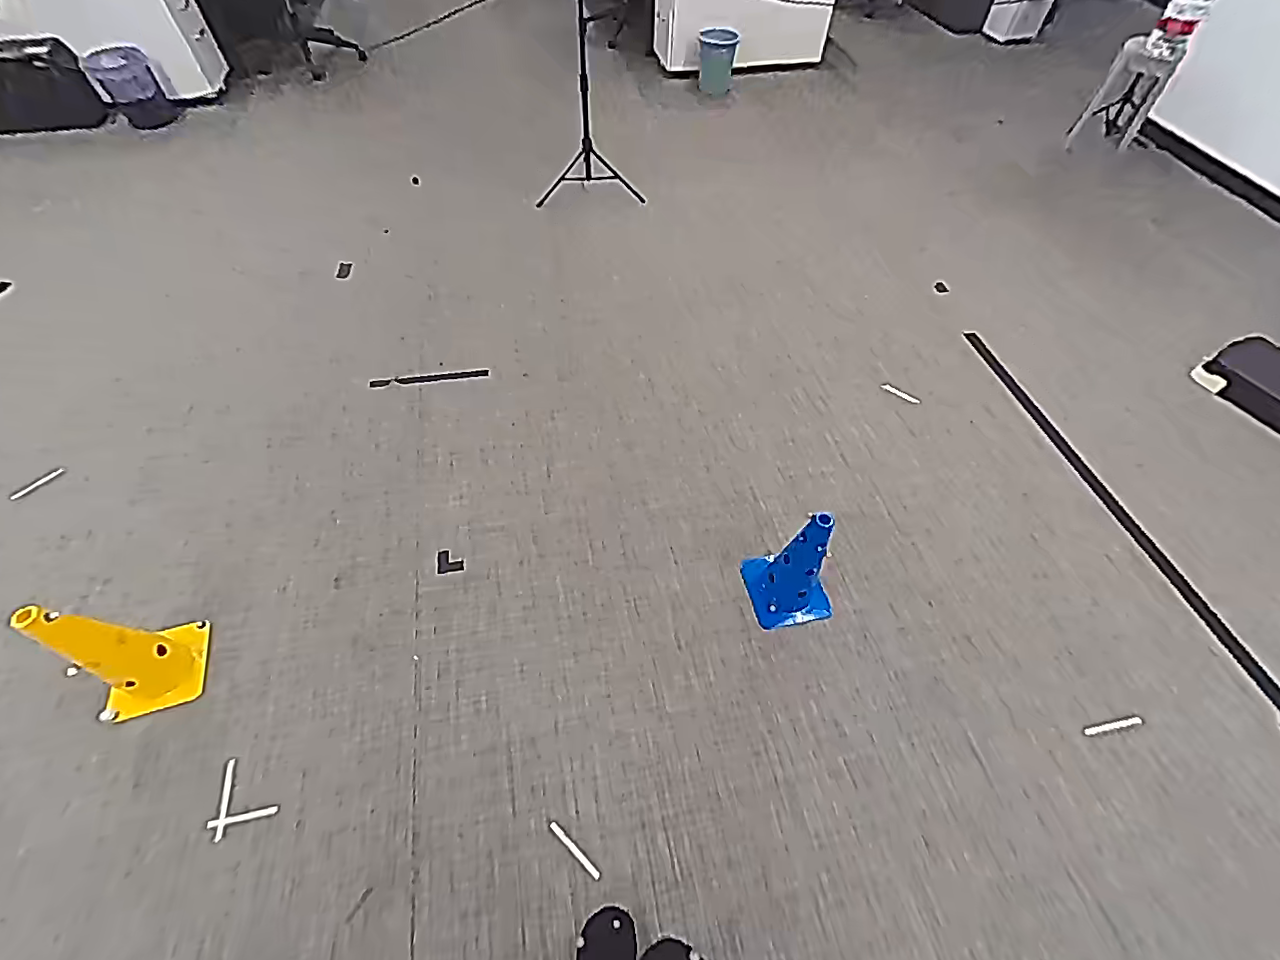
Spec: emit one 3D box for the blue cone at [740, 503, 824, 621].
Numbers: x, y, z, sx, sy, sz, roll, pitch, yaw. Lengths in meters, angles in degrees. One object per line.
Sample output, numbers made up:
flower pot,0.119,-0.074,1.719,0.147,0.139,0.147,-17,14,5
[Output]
blue cone,0.381,0.182,1.310,0.193,0.380,0.192,-8,54,-7
